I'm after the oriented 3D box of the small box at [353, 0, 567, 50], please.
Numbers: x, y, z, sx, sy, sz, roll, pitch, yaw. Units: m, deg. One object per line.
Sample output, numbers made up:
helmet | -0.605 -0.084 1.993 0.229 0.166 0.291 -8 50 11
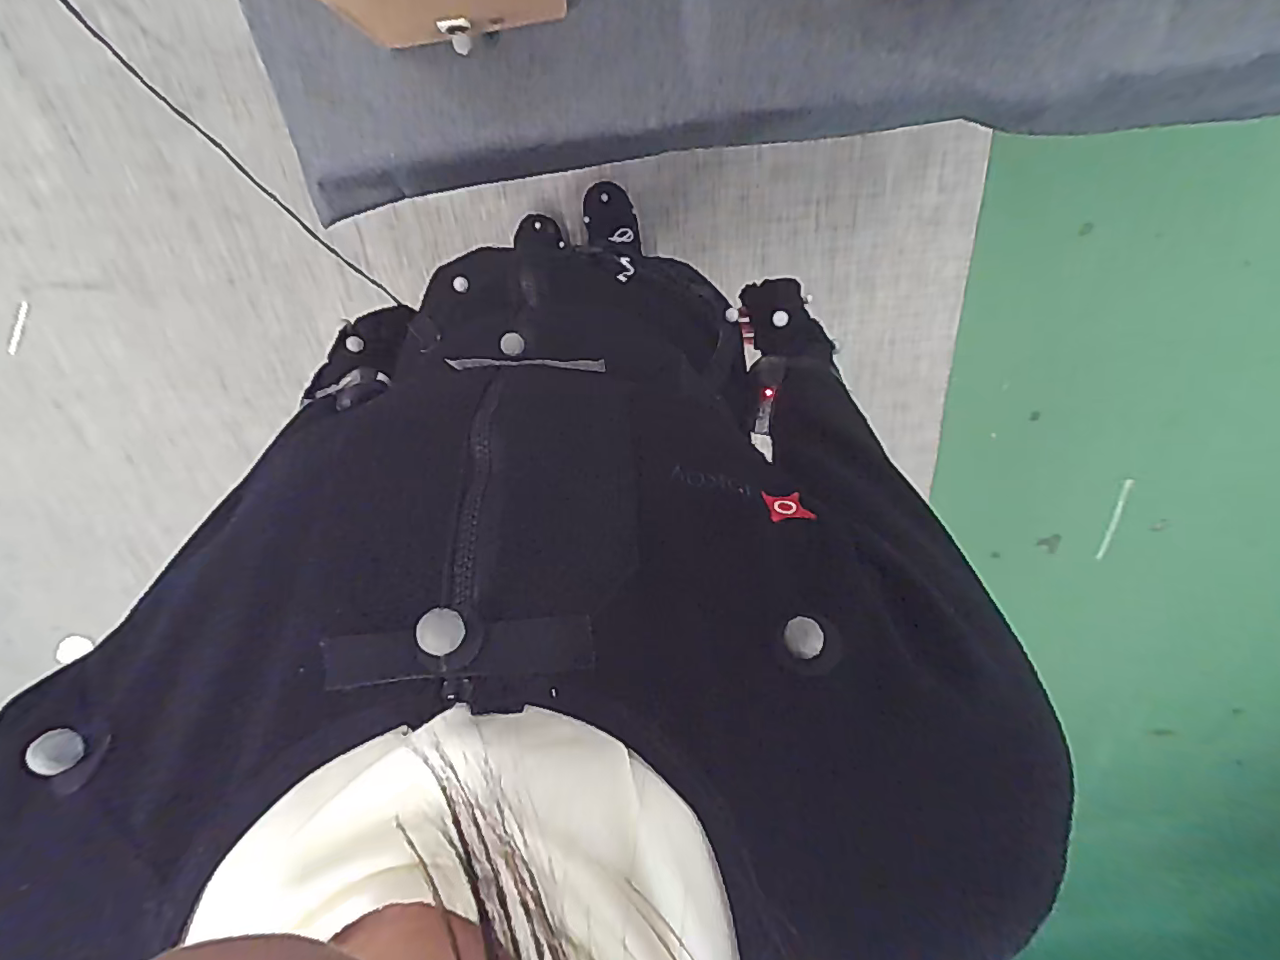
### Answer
small box | -0.150 -0.439 0.375 0.168 0.176 0.179 -12 118 1
